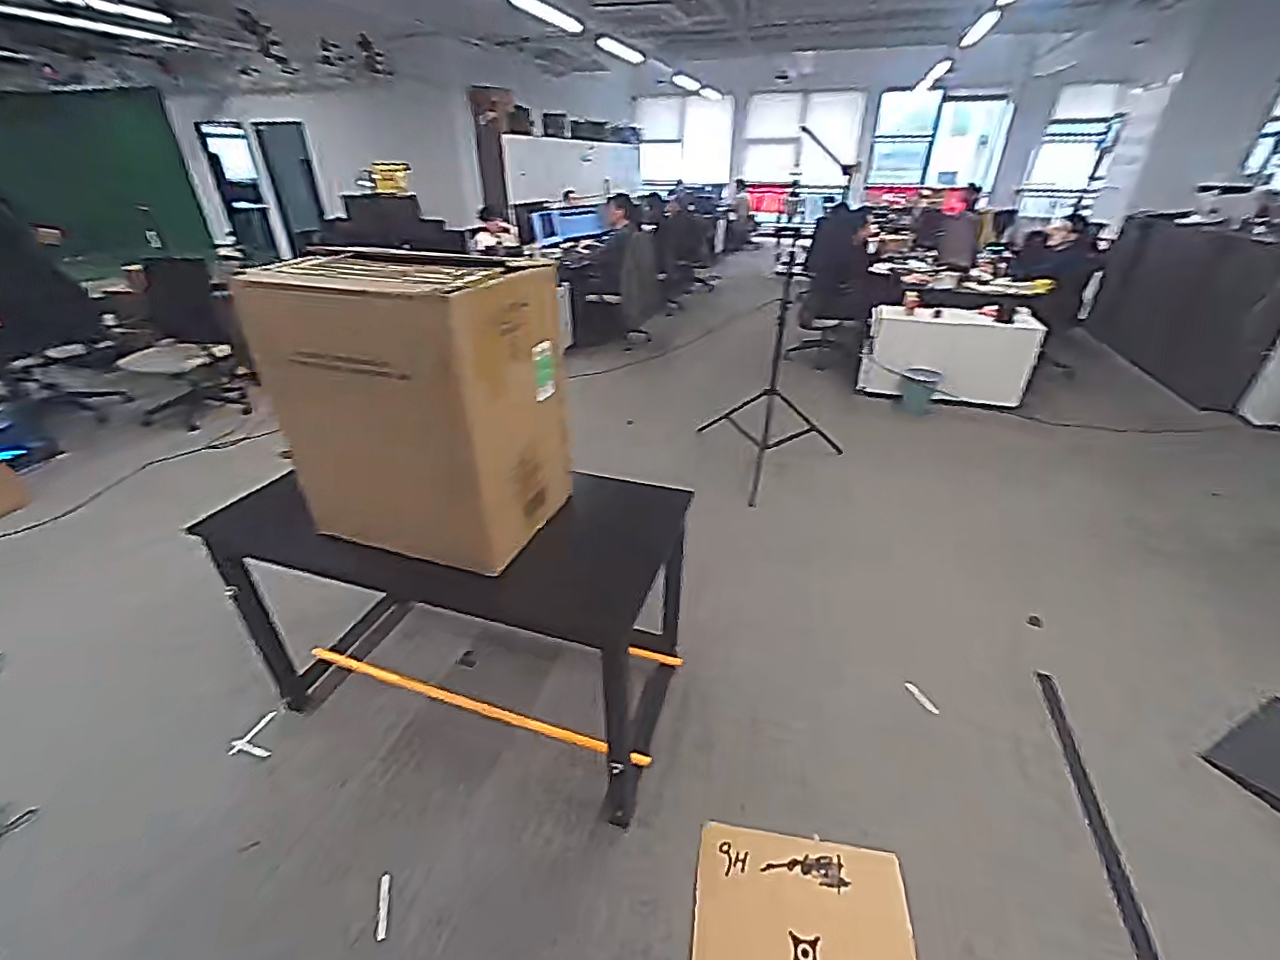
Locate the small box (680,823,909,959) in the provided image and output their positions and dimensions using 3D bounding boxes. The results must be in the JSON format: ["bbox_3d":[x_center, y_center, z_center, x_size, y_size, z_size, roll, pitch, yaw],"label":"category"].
[{"bbox_3d":[0.115,0.418,0.439,0.168,0.176,0.179,5,38,7],"label":"small box"}]
